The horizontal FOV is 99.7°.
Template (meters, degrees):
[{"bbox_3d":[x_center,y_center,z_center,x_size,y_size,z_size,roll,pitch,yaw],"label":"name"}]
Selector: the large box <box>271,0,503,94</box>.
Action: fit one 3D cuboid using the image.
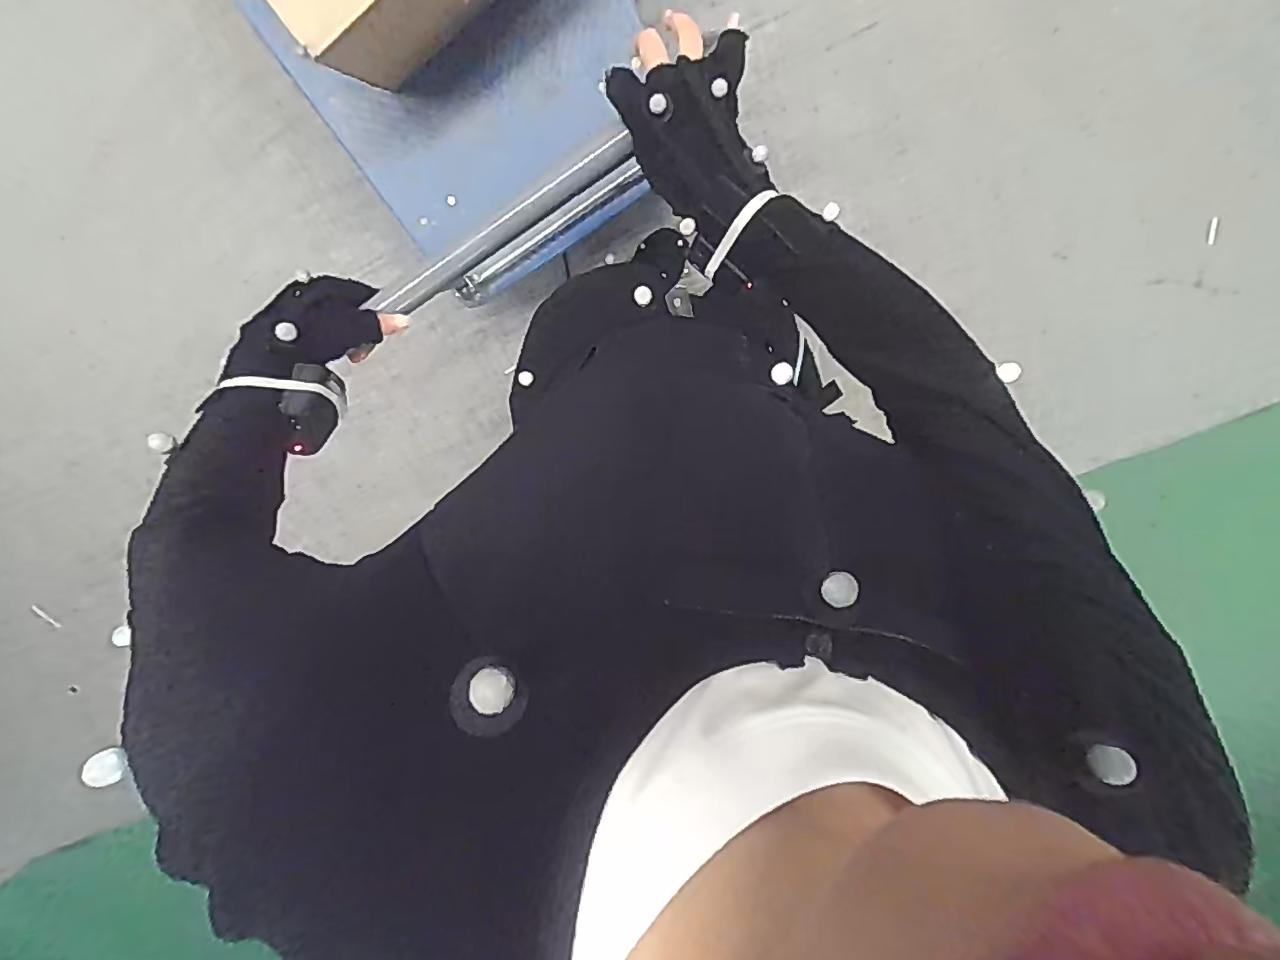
[{"bbox_3d":[-0.347,-0.830,0.741,0.408,0.320,0.320,-31,115,14],"label":"large box"}]
